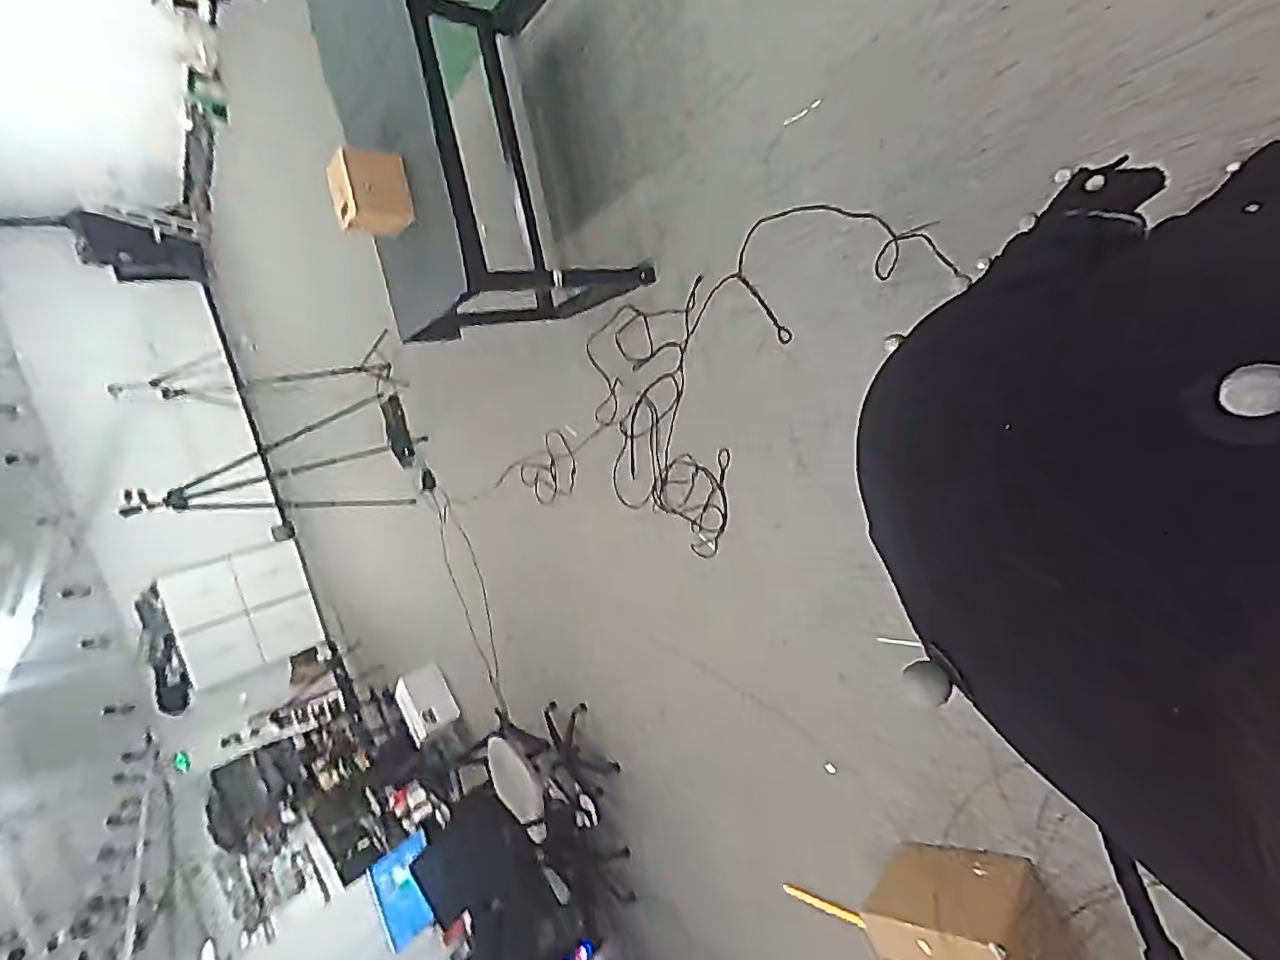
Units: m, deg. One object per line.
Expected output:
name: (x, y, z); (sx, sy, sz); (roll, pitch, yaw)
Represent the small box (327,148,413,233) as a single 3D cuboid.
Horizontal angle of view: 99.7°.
small box: (-0.789, -0.840, 1.587); (0.168, 0.176, 0.179); (2, 105, 47)
